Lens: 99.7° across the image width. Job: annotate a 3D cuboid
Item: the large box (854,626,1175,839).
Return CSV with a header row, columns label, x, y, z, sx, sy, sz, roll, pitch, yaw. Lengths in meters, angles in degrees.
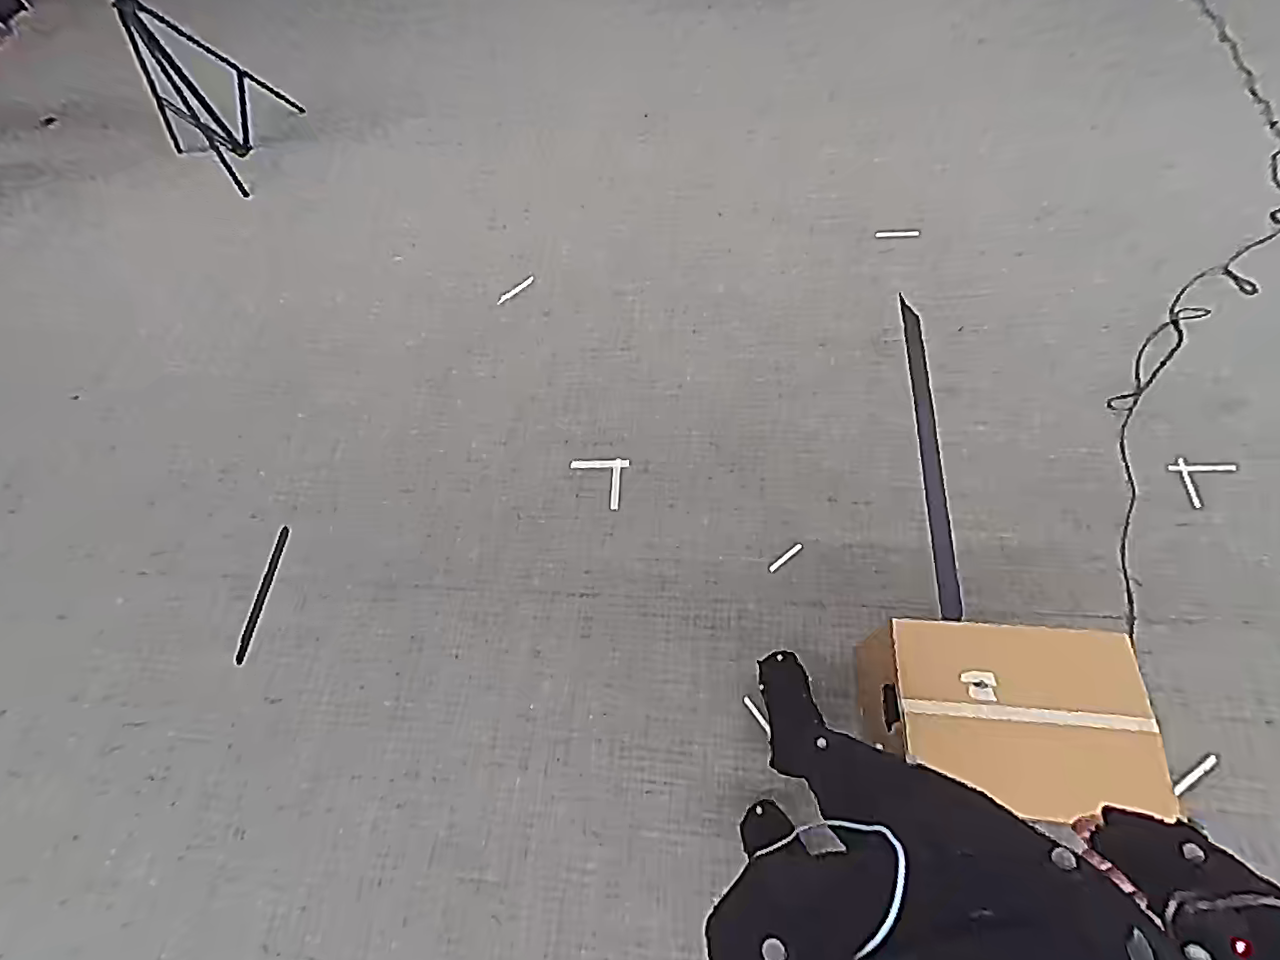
label,x,y,z,sx,sy,sz,roll,pitch,yaw
large box,0.672,0.481,1.064,0.408,0.320,0.320,1,63,10
